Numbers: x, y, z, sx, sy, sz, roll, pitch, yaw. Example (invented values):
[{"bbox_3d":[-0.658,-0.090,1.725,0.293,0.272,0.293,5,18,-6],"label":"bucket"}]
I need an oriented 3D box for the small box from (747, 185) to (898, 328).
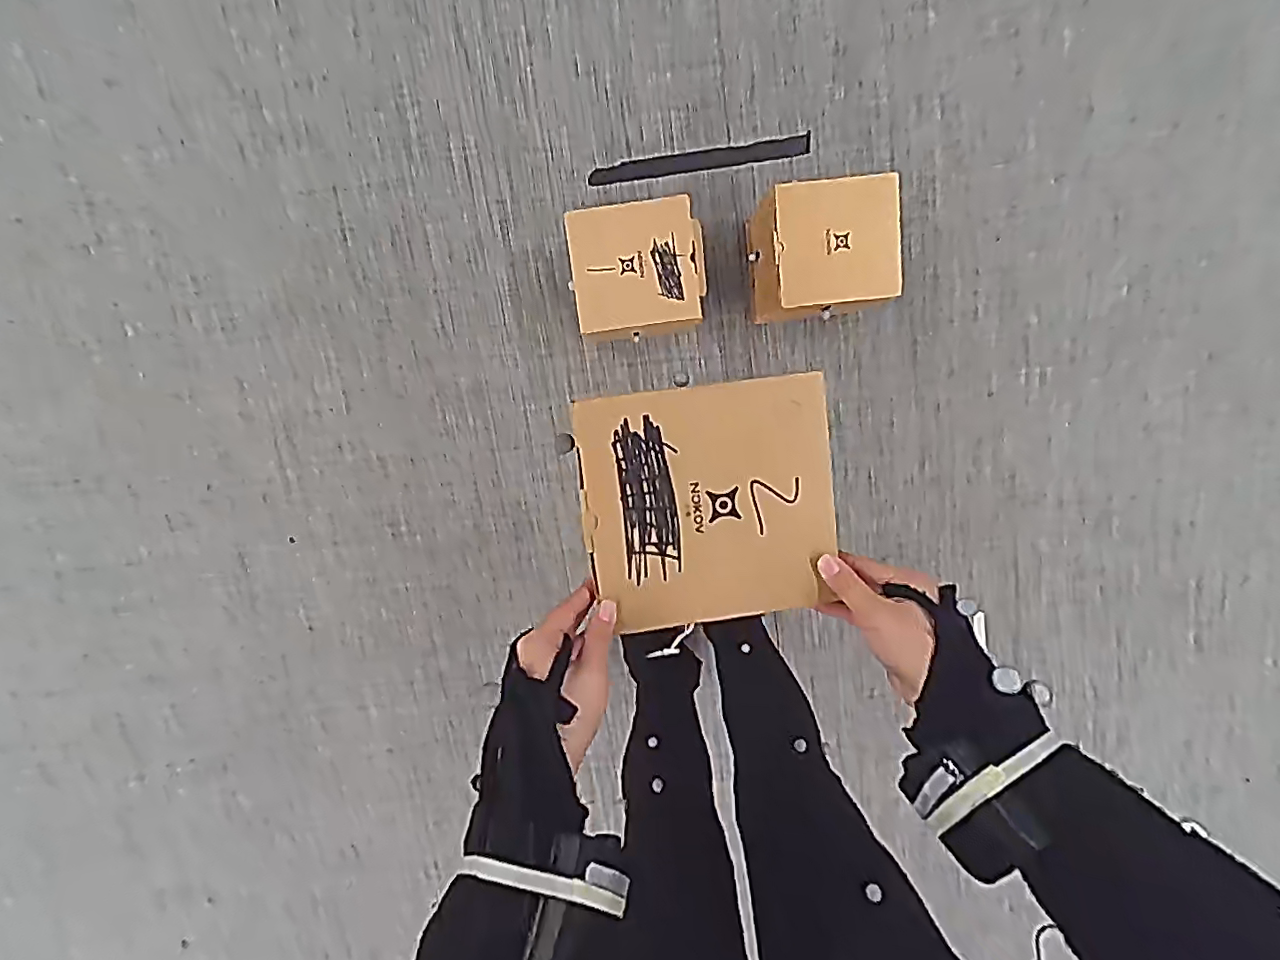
[{"bbox_3d":[0.274,-0.335,0.839,0.179,0.176,0.168,-6,100,0],"label":"small box"}]

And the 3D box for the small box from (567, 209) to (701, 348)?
[{"bbox_3d":[-0.009,-0.301,0.839,0.179,0.176,0.168,-7,100,1],"label":"small box"}]
